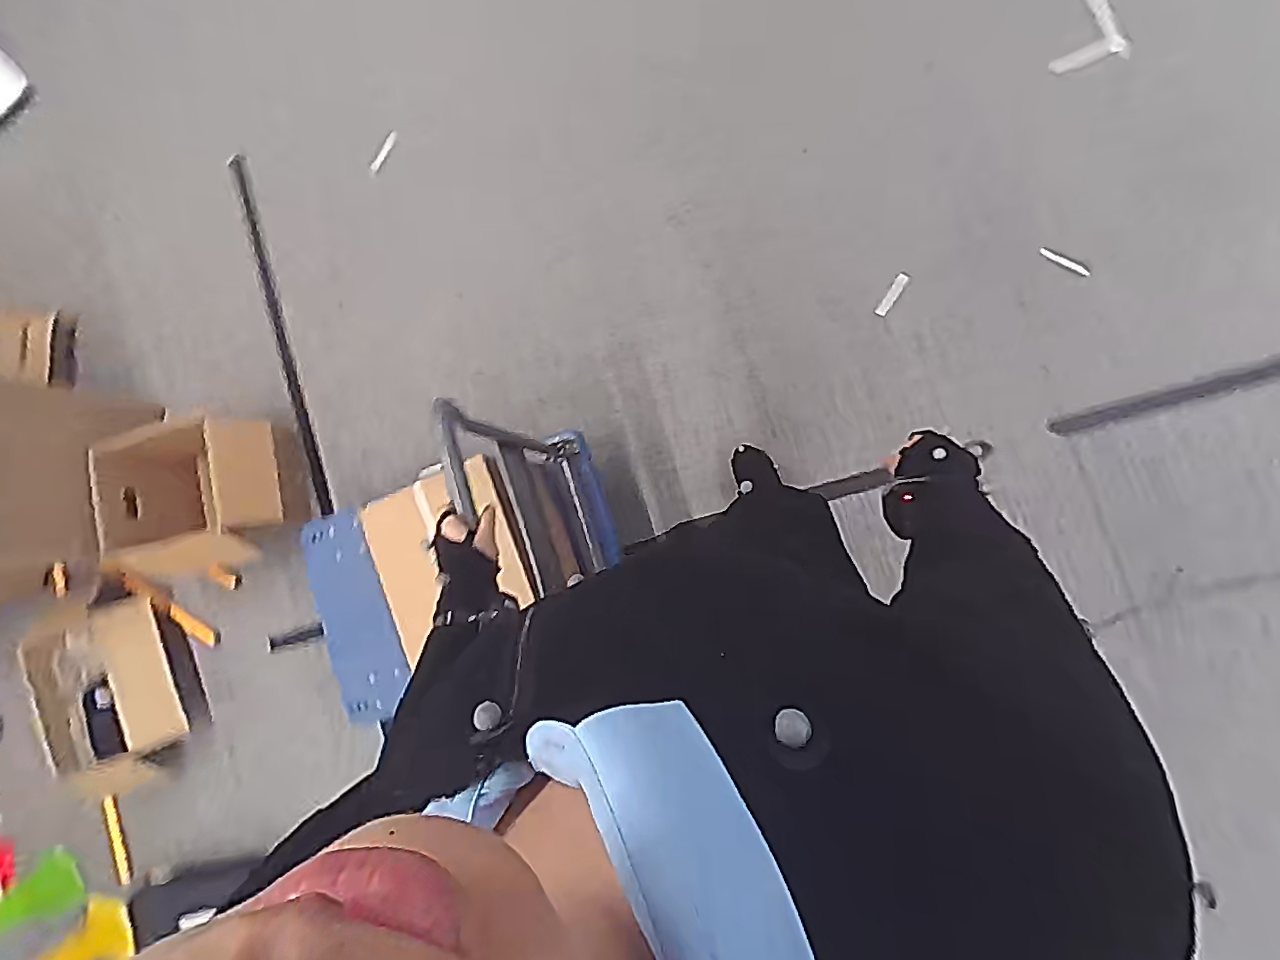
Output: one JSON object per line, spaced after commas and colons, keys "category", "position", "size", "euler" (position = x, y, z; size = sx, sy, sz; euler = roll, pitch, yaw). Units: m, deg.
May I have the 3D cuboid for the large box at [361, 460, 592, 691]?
{"category": "large box", "position": [-0.357, 0.204, 1.255], "size": [0.320, 0.320, 0.408], "euler": [-23, 83, 9]}
